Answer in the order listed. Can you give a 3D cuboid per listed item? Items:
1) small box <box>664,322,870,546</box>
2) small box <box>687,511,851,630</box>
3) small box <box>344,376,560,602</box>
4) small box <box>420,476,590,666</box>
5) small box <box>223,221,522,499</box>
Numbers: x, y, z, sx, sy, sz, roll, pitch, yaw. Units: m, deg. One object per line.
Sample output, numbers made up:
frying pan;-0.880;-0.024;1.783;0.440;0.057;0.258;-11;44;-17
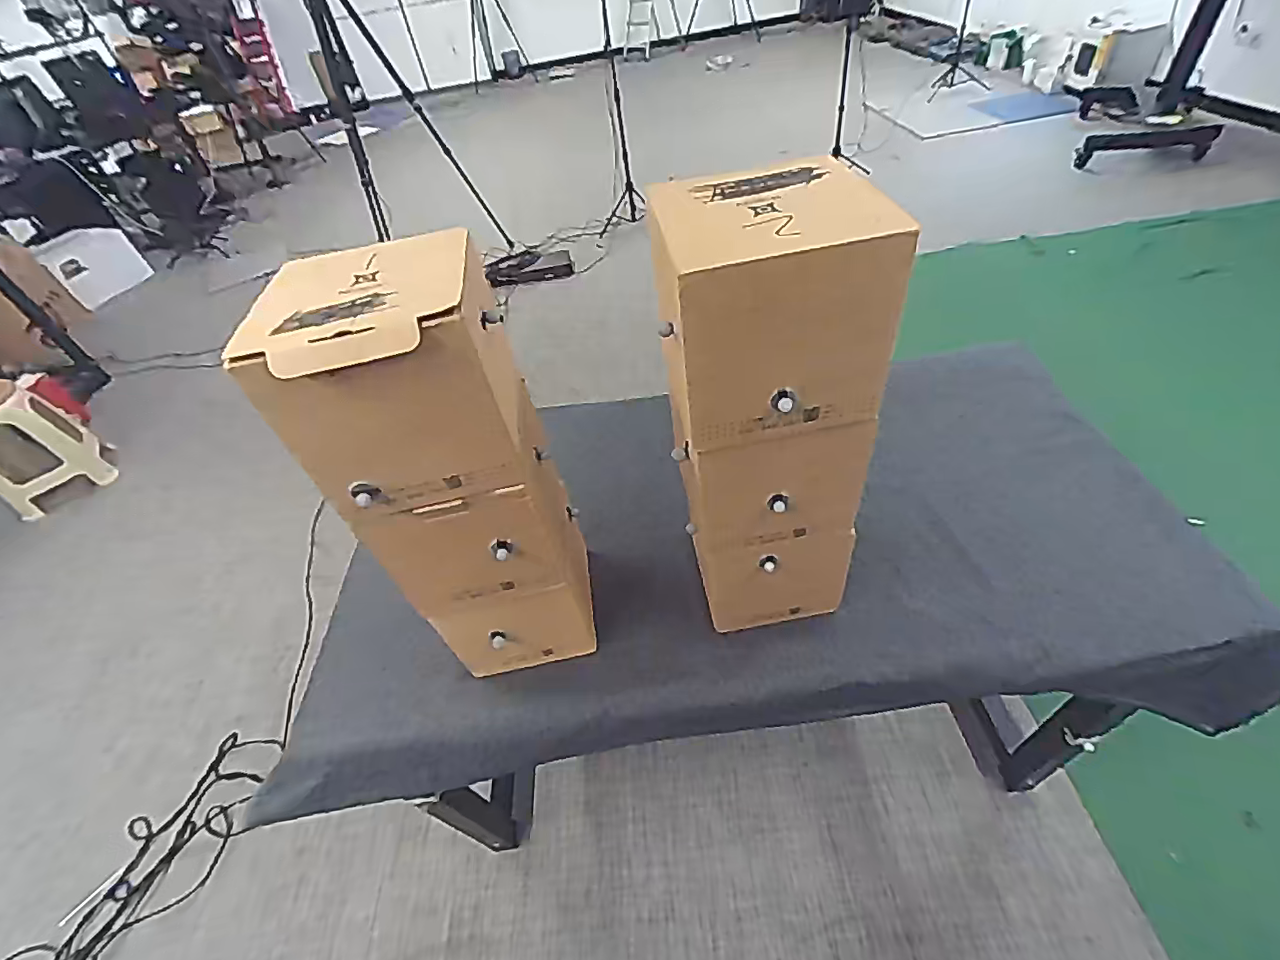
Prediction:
small box;0.126;-0.044;0.592;0.168;0.176;0.179;-10;46;-1
small box;0.153;0.069;0.711;0.168;0.176;0.179;-11;45;0
small box;-0.187;0.015;0.594;0.168;0.176;0.179;-11;44;-3
small box;-0.166;0.126;0.711;0.168;0.176;0.179;-11;45;-1
small box;-0.207;-0.100;0.478;0.168;0.176;0.179;-12;45;-4
